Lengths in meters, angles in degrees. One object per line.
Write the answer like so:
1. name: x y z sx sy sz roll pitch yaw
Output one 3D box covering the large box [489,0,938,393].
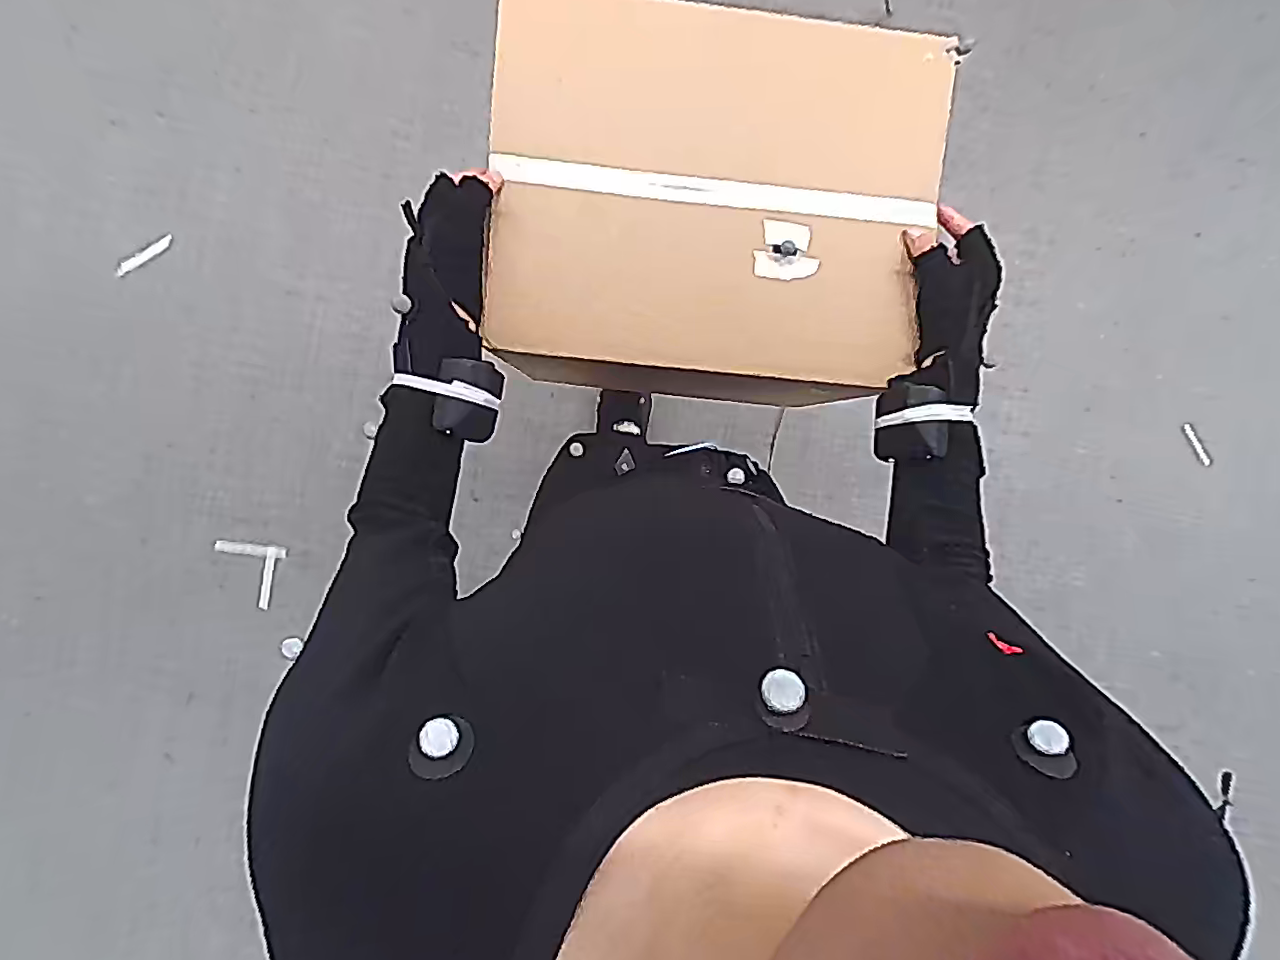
1. large box: 0.058 -0.285 0.649 0.408 0.320 0.320 5 96 -4
